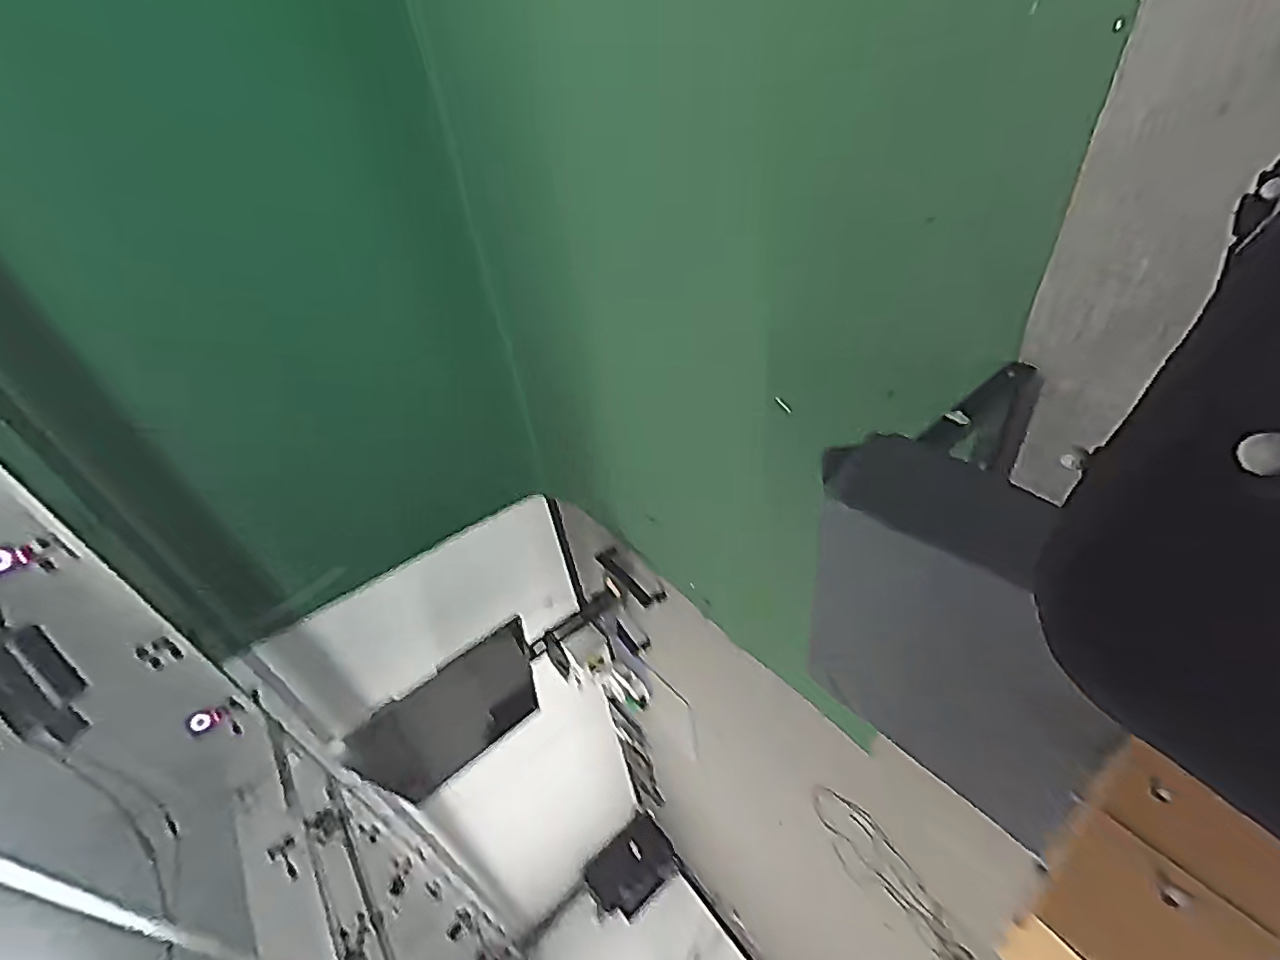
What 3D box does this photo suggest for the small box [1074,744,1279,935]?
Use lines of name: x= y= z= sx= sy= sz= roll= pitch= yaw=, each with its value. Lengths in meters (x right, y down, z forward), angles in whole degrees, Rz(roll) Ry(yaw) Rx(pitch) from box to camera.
small box: x=0.710 y=0.474 z=0.692 sx=0.179 sy=0.176 sz=0.168 roll=31 pitch=144 yaw=42

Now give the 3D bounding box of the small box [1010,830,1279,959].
small box: x=0.581 y=0.547 z=0.622 sx=0.179 sy=0.176 sz=0.168 roll=35 pitch=147 yaw=41
